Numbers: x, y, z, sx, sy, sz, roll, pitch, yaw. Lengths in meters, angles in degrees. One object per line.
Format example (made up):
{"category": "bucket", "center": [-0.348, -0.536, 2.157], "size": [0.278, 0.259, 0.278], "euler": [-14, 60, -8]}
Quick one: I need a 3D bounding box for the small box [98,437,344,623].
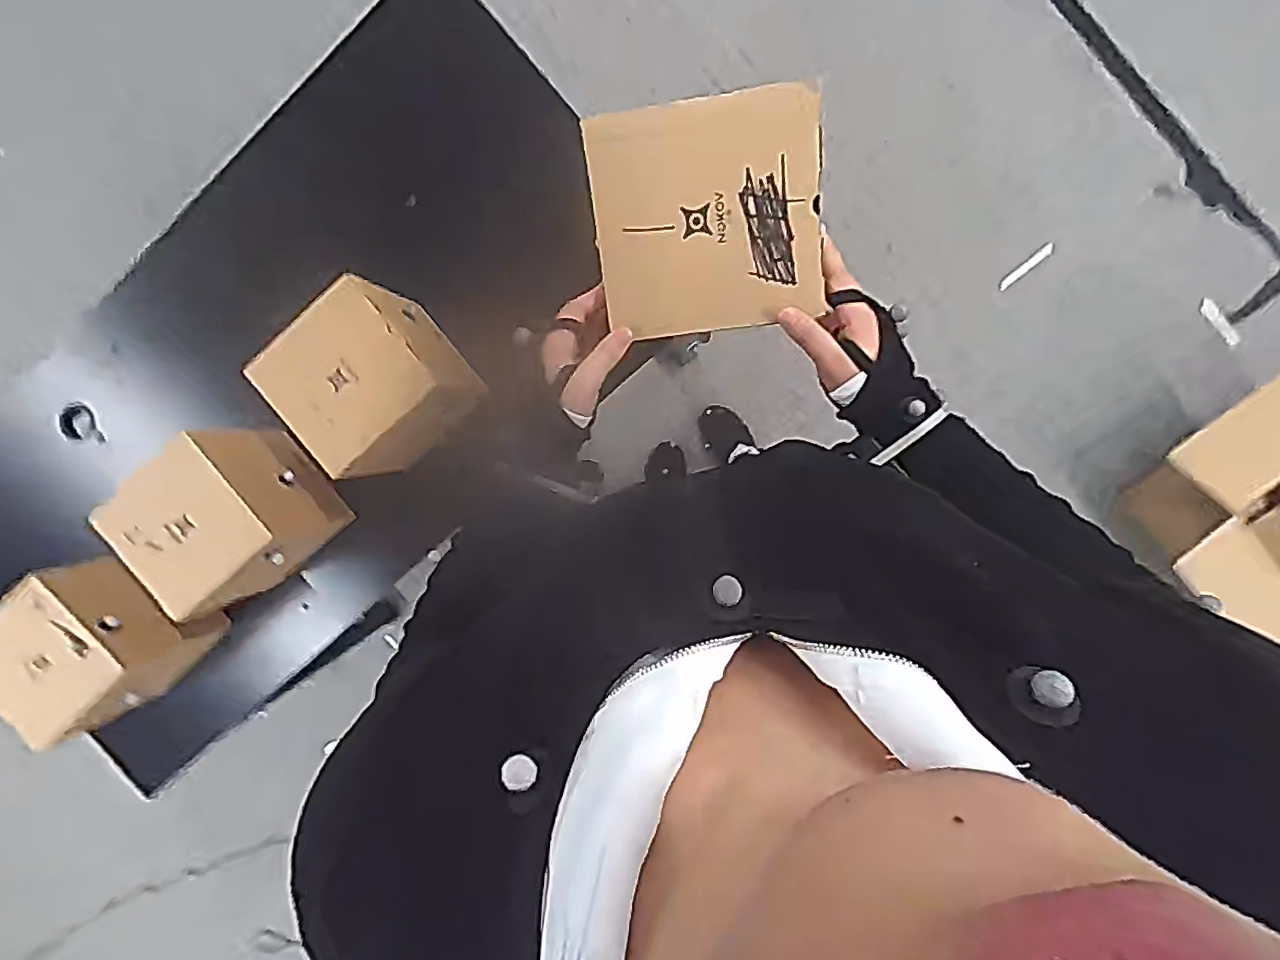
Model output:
{"category": "small box", "center": [-0.543, 0.055, 0.734], "size": [0.179, 0.176, 0.168], "euler": [-39, 91, 7]}

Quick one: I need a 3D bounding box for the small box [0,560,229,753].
{"category": "small box", "center": [-0.748, 0.232, 0.767], "size": [0.179, 0.176, 0.168], "euler": [-43, 91, 7]}

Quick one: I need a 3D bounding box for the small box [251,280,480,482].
{"category": "small box", "center": [-0.334, -0.120, 0.703], "size": [0.179, 0.176, 0.168], "euler": [-40, 90, 8]}
